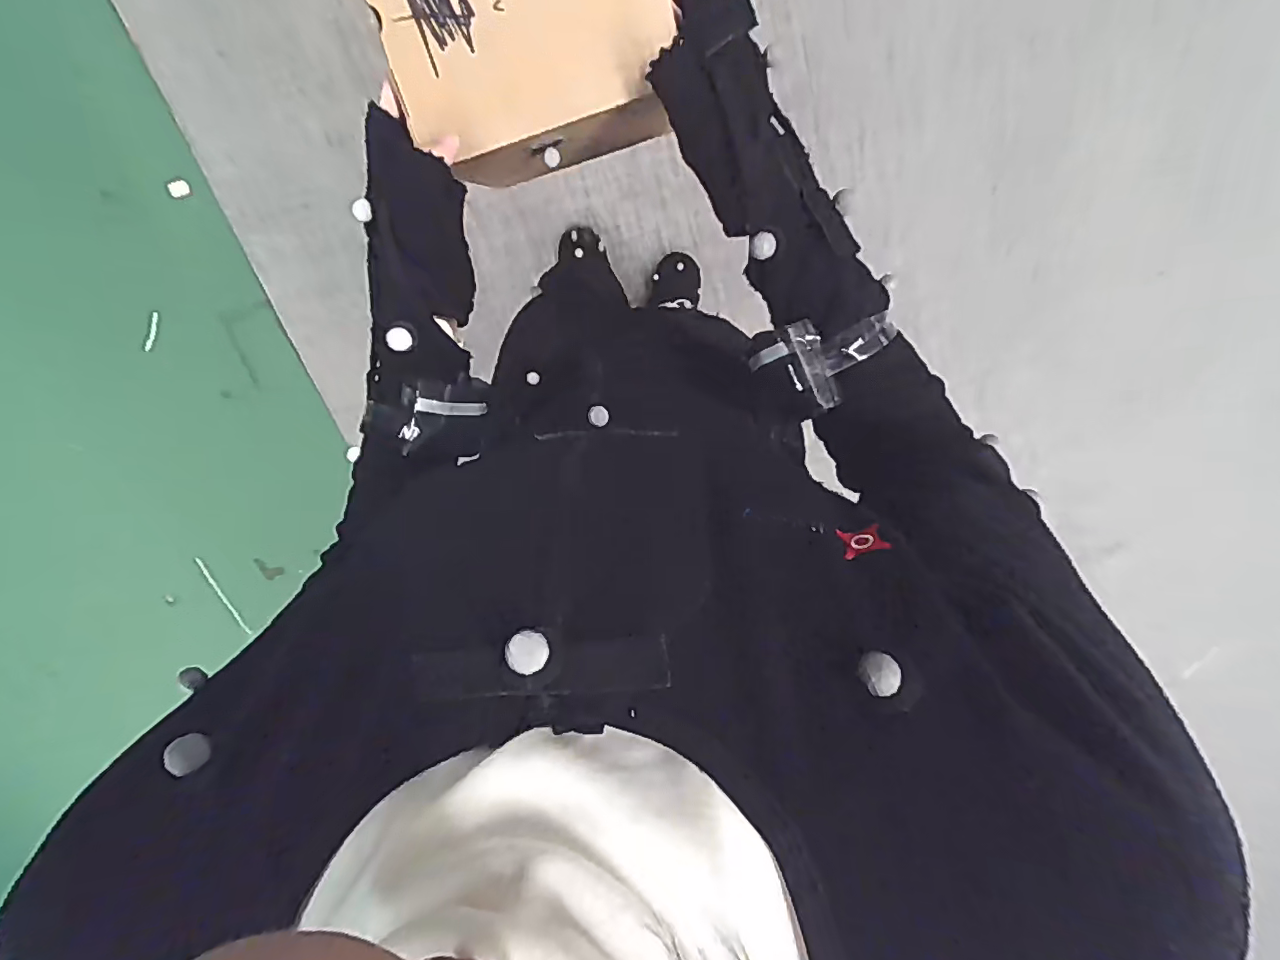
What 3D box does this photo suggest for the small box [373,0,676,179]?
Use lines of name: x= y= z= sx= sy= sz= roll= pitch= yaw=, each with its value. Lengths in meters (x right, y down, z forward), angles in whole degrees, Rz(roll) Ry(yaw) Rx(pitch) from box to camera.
small box: x=-0.075 y=-0.337 z=0.396 sx=0.179 sy=0.176 sz=0.168 roll=-13 pitch=114 yaw=8
